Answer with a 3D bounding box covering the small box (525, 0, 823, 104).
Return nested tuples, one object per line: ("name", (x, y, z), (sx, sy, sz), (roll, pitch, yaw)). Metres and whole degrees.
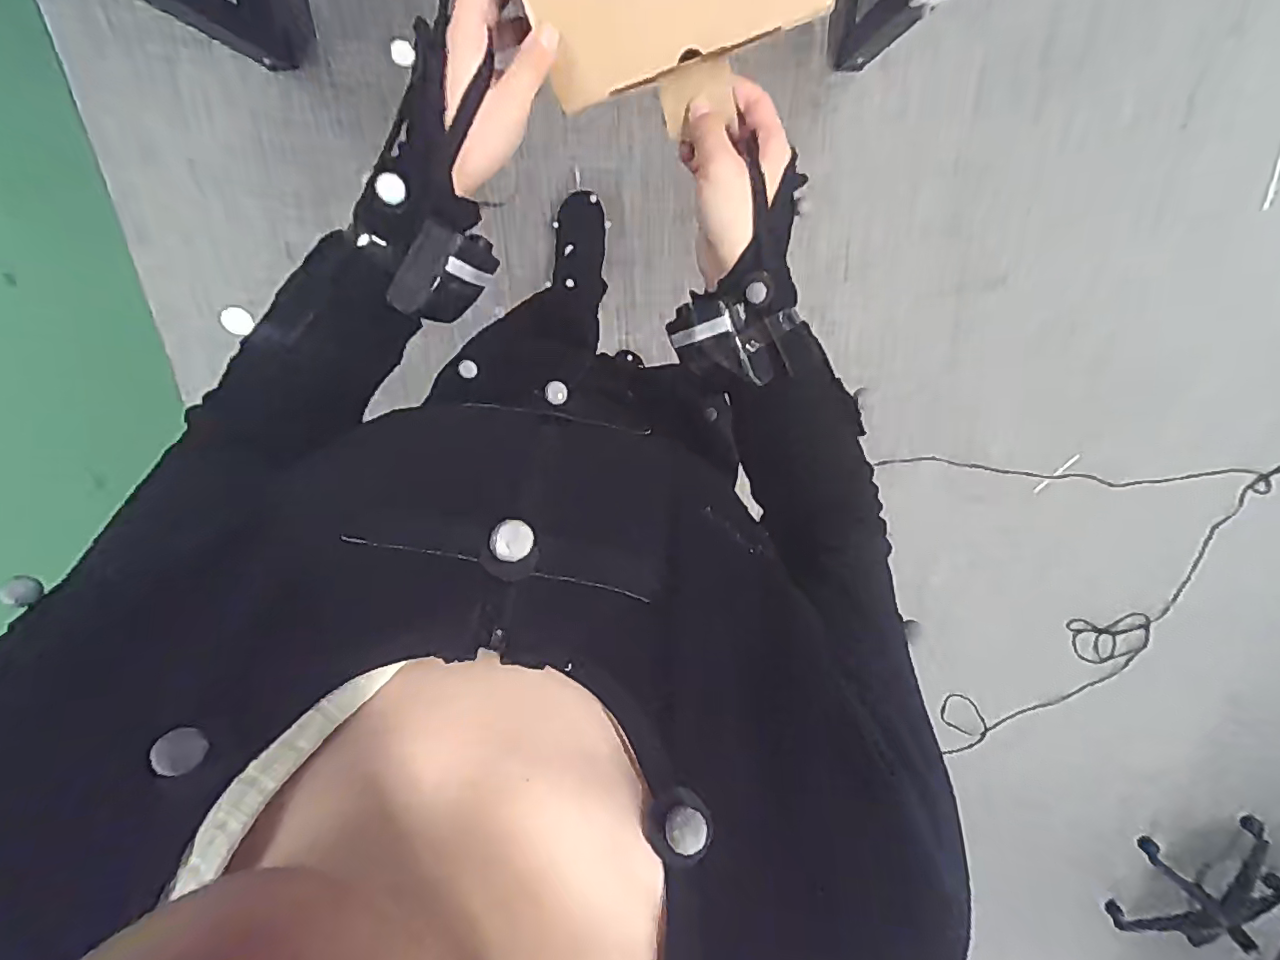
("small box", (0.005, -0.364, 0.325), (0.168, 0.176, 0.179), (-13, 129, 12))
